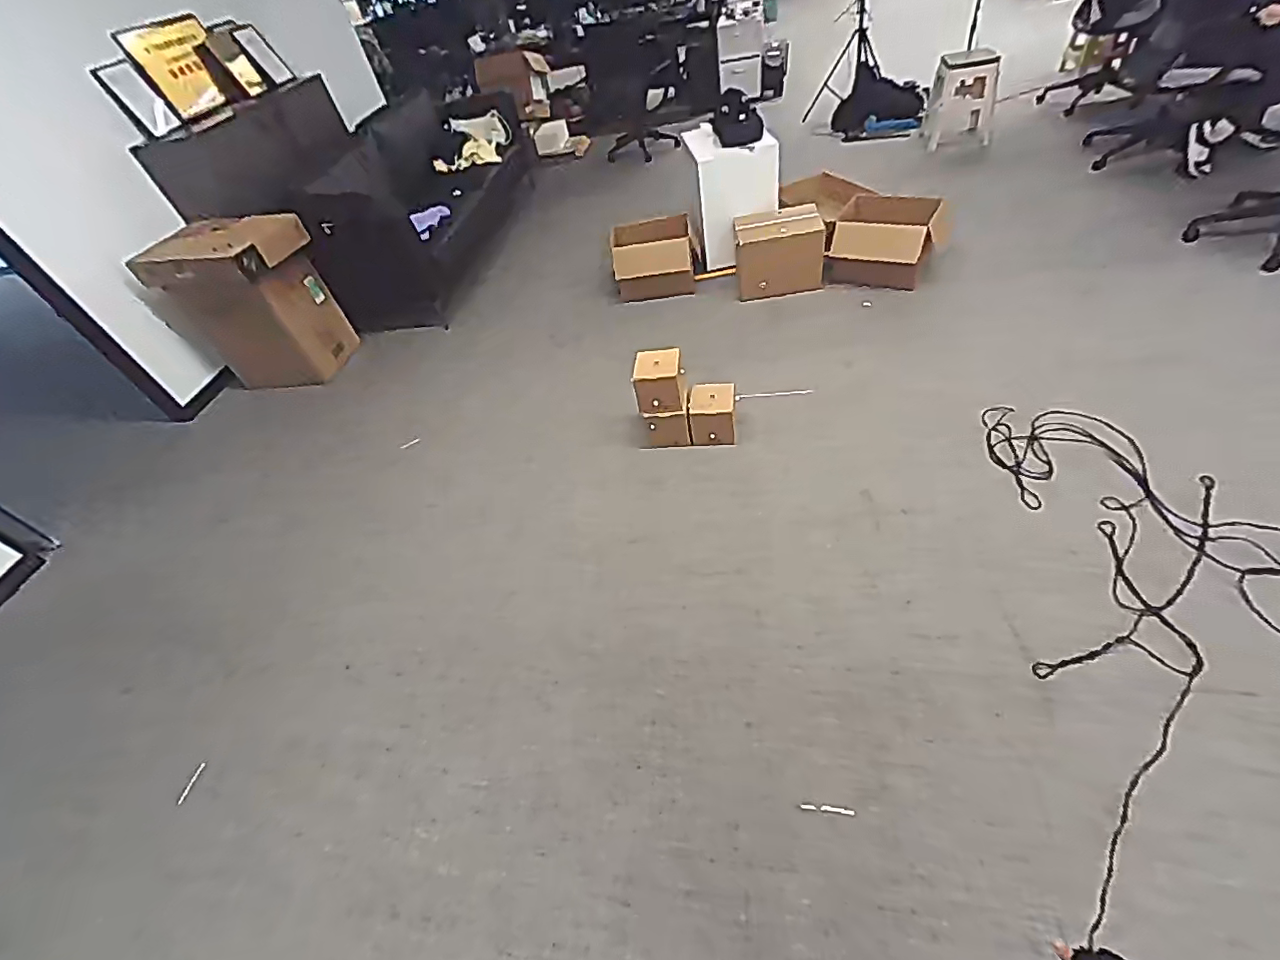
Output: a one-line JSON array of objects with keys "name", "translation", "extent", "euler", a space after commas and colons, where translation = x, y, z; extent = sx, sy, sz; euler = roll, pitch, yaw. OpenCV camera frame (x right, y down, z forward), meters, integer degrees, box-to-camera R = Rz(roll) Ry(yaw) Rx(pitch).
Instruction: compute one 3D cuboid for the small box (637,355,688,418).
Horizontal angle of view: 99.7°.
[{"name": "small box", "translation": [0.090, -0.356, 2.065], "extent": [0.168, 0.176, 0.179], "euler": [-3, 46, 11]}]
